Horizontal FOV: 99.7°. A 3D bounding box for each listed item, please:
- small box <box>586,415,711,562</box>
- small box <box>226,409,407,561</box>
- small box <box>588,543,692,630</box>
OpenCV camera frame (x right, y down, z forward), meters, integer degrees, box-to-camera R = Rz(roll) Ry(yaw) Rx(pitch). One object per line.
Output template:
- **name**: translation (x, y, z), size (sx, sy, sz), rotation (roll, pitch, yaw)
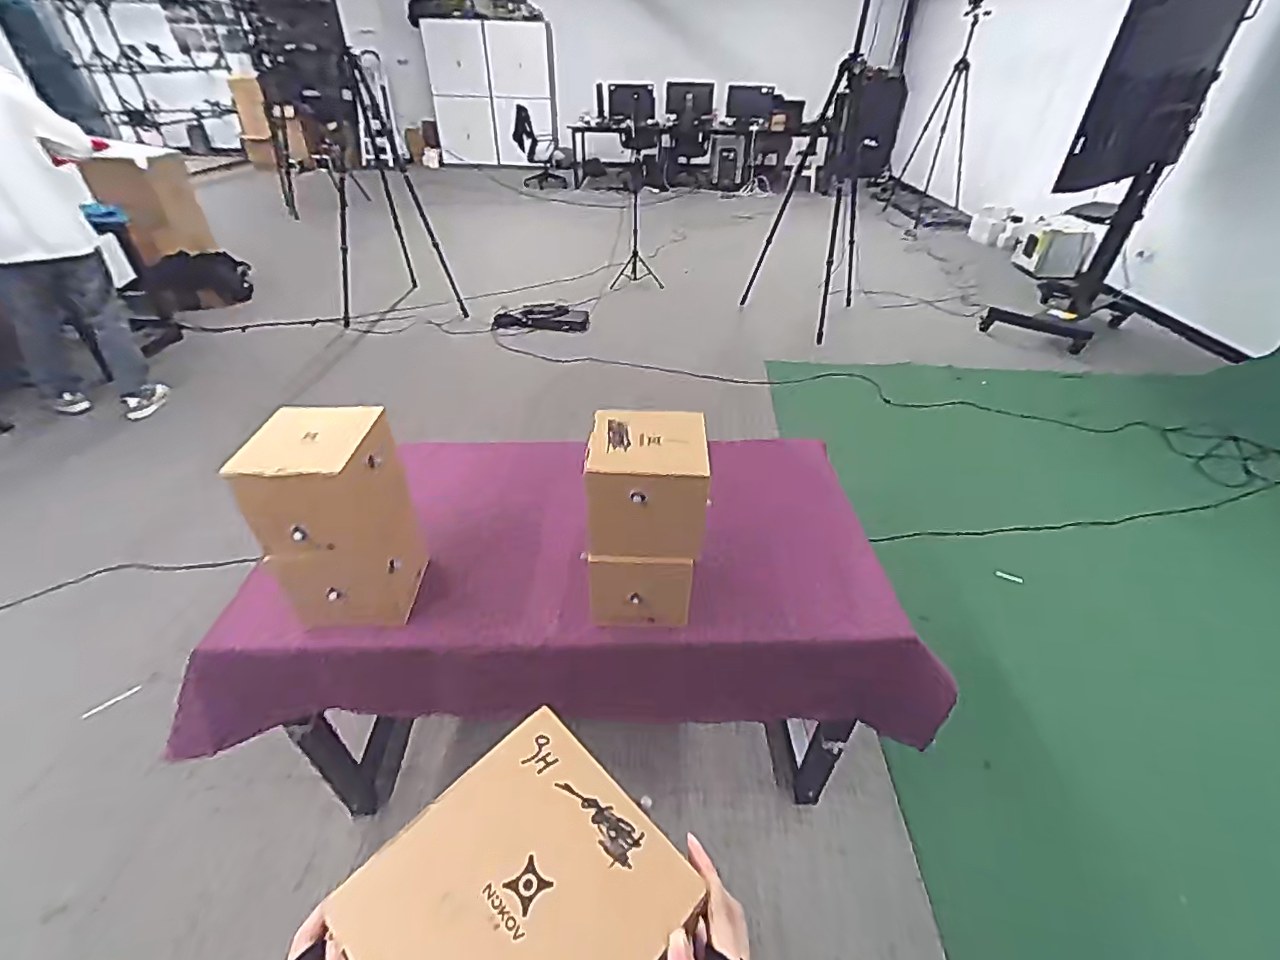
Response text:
- **small box**: translation (0.014, 0.013, 0.852), size (0.179, 0.176, 0.168), rotation (3, 38, 1)
- **small box**: translation (-0.483, 0.005, 0.846), size (0.168, 0.176, 0.179), rotation (0, 38, -2)
- **small box**: translation (0.002, 0.145, 0.951), size (0.168, 0.176, 0.179), rotation (2, 38, 0)
